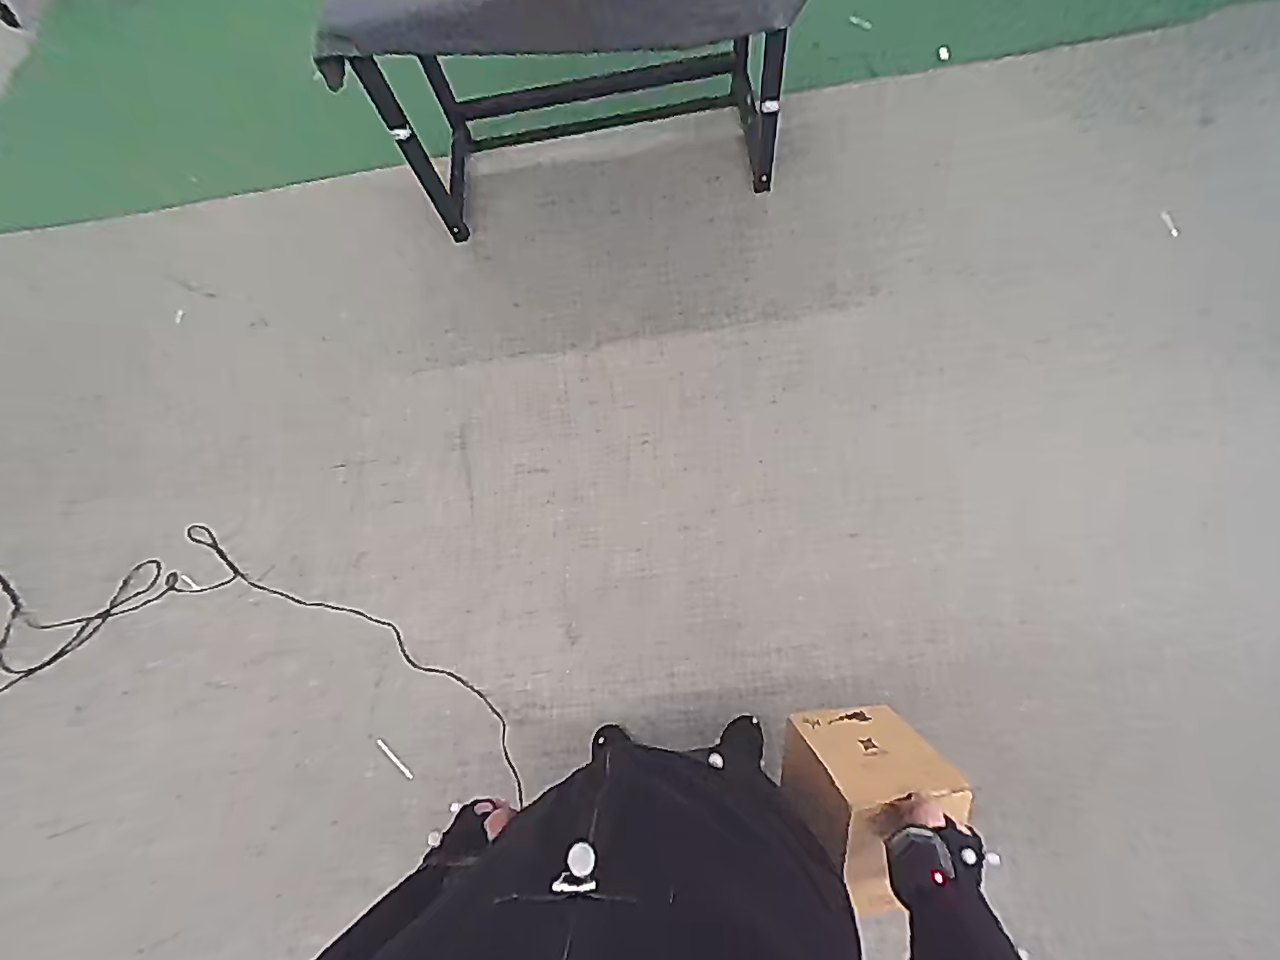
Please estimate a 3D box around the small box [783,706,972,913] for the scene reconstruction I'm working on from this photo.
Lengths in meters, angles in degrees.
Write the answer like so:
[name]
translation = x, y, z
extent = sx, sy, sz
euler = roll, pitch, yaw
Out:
[small box]
translation = 0.312, 0.447, 0.743
extent = 0.168, 0.179, 0.176
euler = -3, 104, -13
